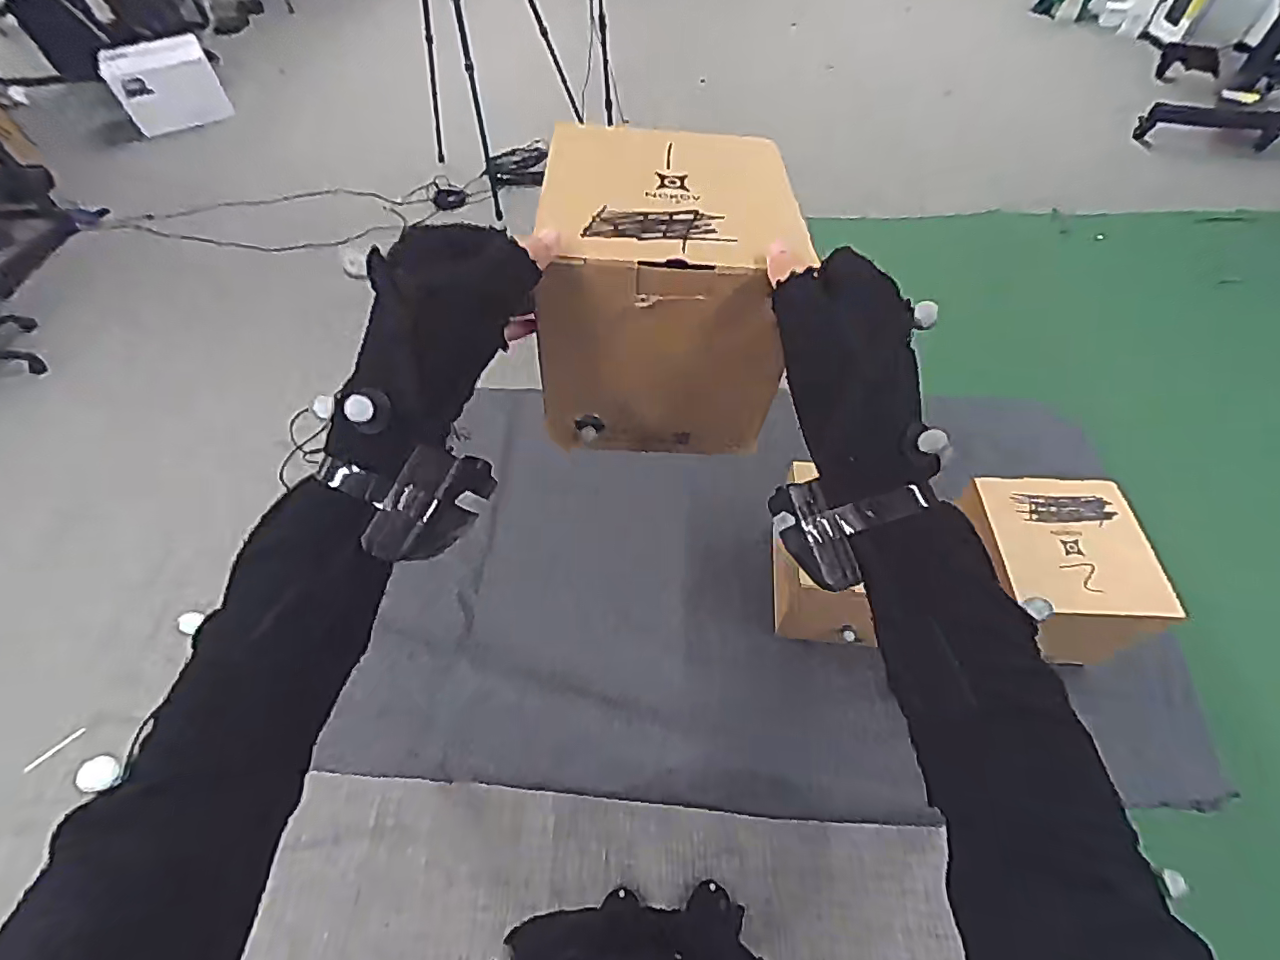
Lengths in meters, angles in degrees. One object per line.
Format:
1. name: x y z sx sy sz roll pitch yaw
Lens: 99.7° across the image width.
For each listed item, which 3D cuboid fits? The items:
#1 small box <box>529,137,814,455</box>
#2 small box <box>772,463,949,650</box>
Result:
1. small box: 0.016 -0.135 0.417 0.168 0.176 0.179 2 53 -3
2. small box: 0.267 0.101 0.703 0.168 0.176 0.179 4 55 6
